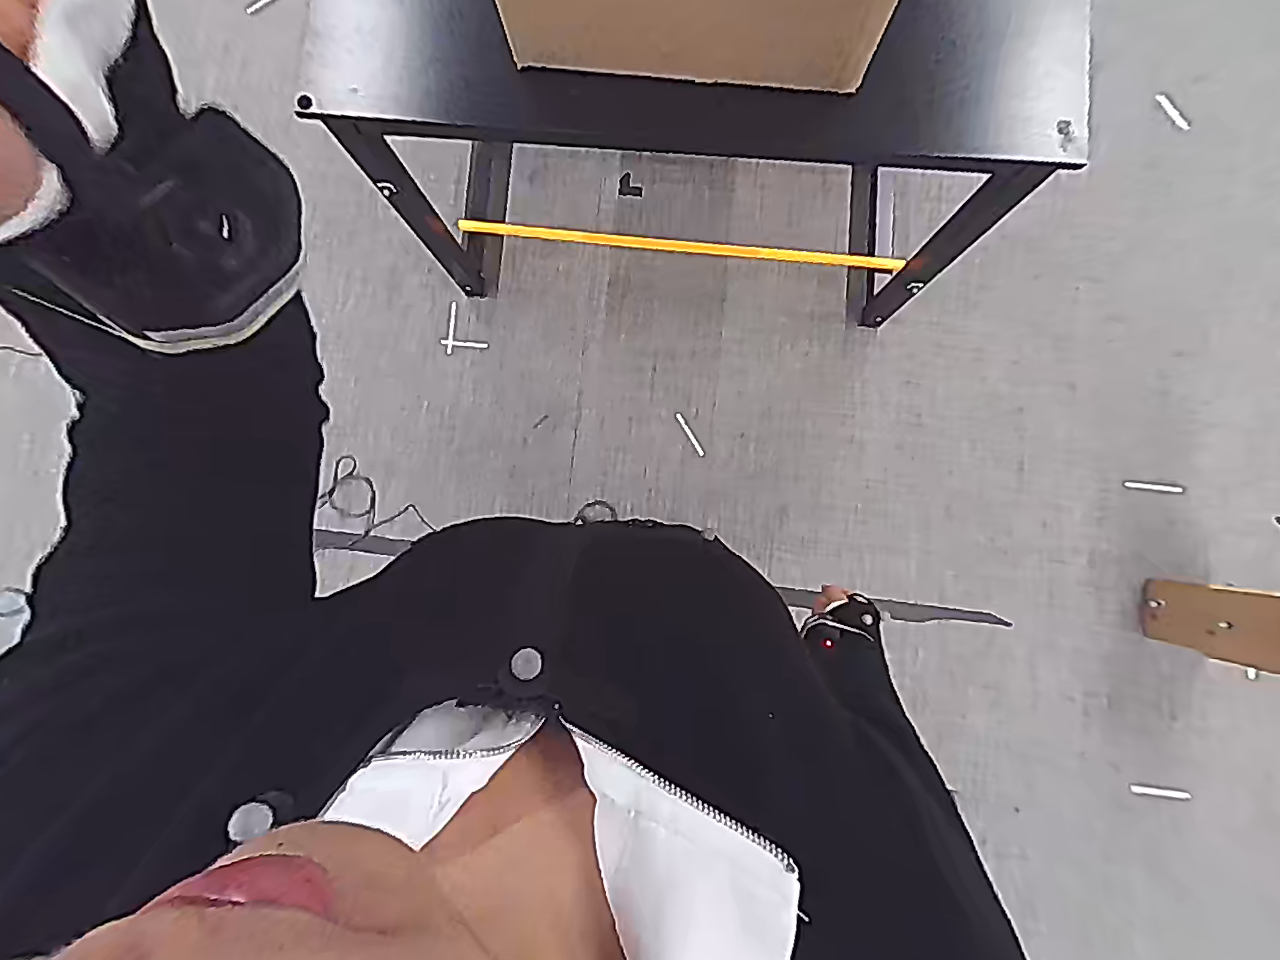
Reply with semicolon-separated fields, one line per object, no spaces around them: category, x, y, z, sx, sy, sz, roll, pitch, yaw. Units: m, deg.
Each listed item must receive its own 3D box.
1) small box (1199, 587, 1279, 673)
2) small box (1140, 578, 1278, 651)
small box;1.422;0.338;1.207;0.179;0.176;0.168;6;85;2
small box;1.436;0.343;1.371;0.179;0.176;0.168;6;85;3
